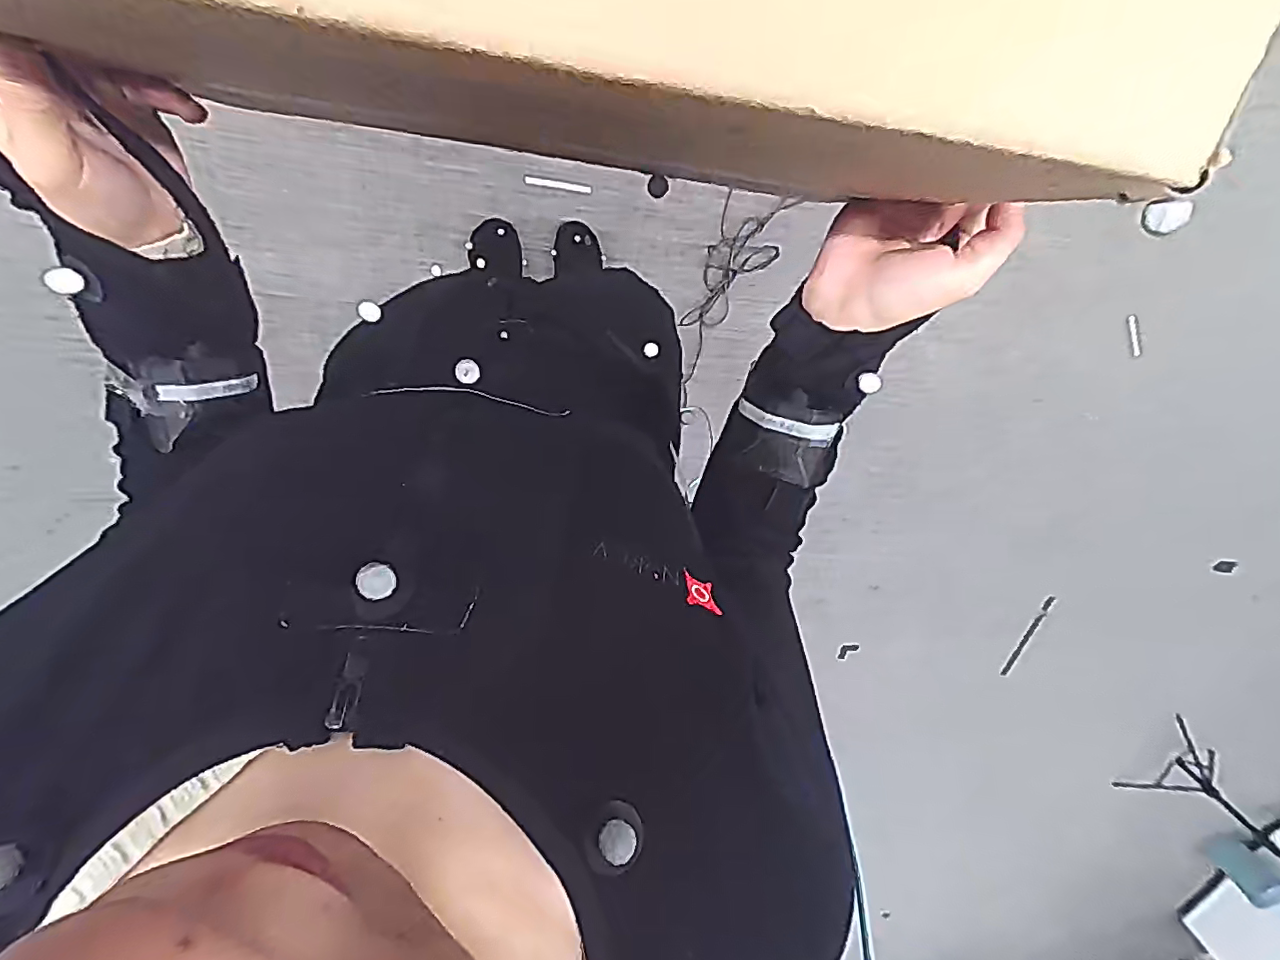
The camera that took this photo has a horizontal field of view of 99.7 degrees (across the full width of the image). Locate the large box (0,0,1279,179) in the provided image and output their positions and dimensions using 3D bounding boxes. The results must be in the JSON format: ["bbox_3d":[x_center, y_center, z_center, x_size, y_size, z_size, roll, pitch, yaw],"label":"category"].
[{"bbox_3d":[-0.028,-0.313,0.186,0.408,0.320,0.320,3,118,-9],"label":"large box"}]
